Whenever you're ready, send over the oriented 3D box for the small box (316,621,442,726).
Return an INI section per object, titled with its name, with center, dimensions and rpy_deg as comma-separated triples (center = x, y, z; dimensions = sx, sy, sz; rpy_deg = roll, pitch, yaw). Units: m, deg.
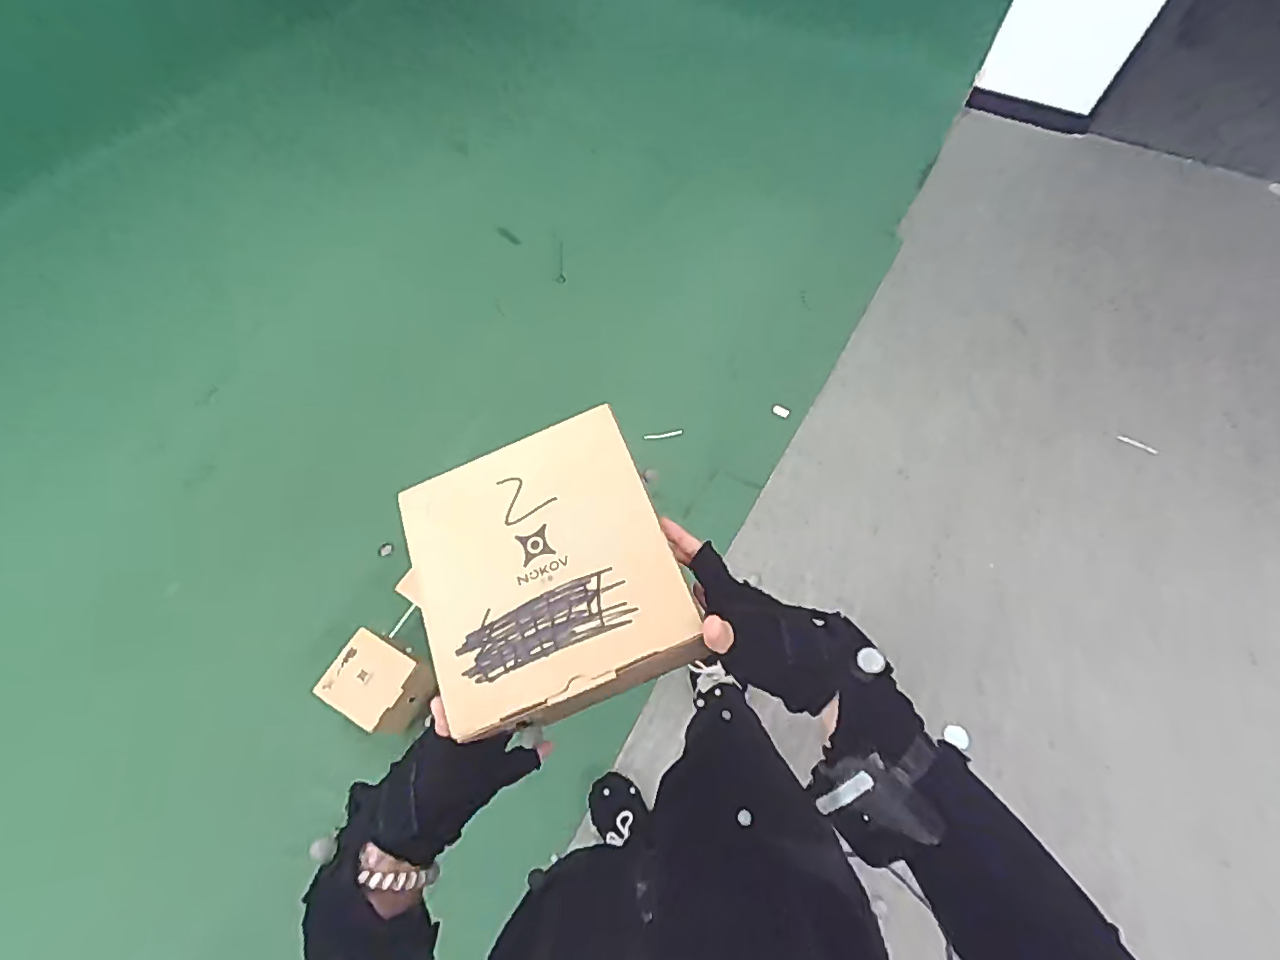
[small box]
center = -0.608, 0.460, 1.285
dimensions = 0.179, 0.176, 0.168
rpy_deg = 28, 69, 13
